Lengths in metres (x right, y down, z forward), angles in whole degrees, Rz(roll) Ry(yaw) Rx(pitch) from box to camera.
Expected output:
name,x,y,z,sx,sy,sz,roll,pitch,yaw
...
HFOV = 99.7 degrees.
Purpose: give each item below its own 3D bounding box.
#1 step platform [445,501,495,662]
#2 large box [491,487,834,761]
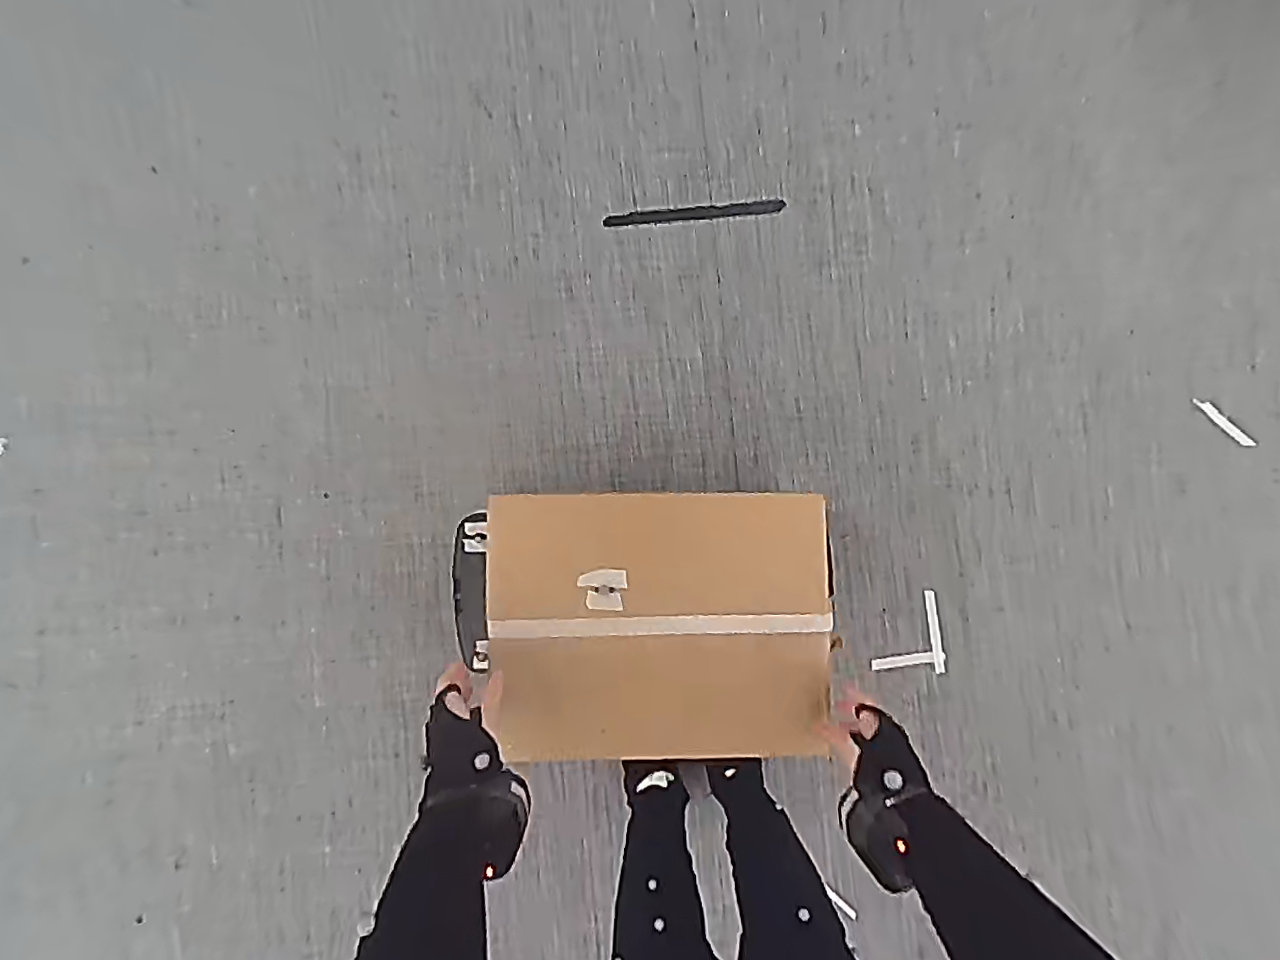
name,x,y,z,sx,sy,sz,roll,pitch,yaw
step platform,-0.006,0.190,1.020,0.684,0.204,0.286,1,88,-1
large box,0.026,0.174,0.783,0.408,0.320,0.320,-1,87,-1
